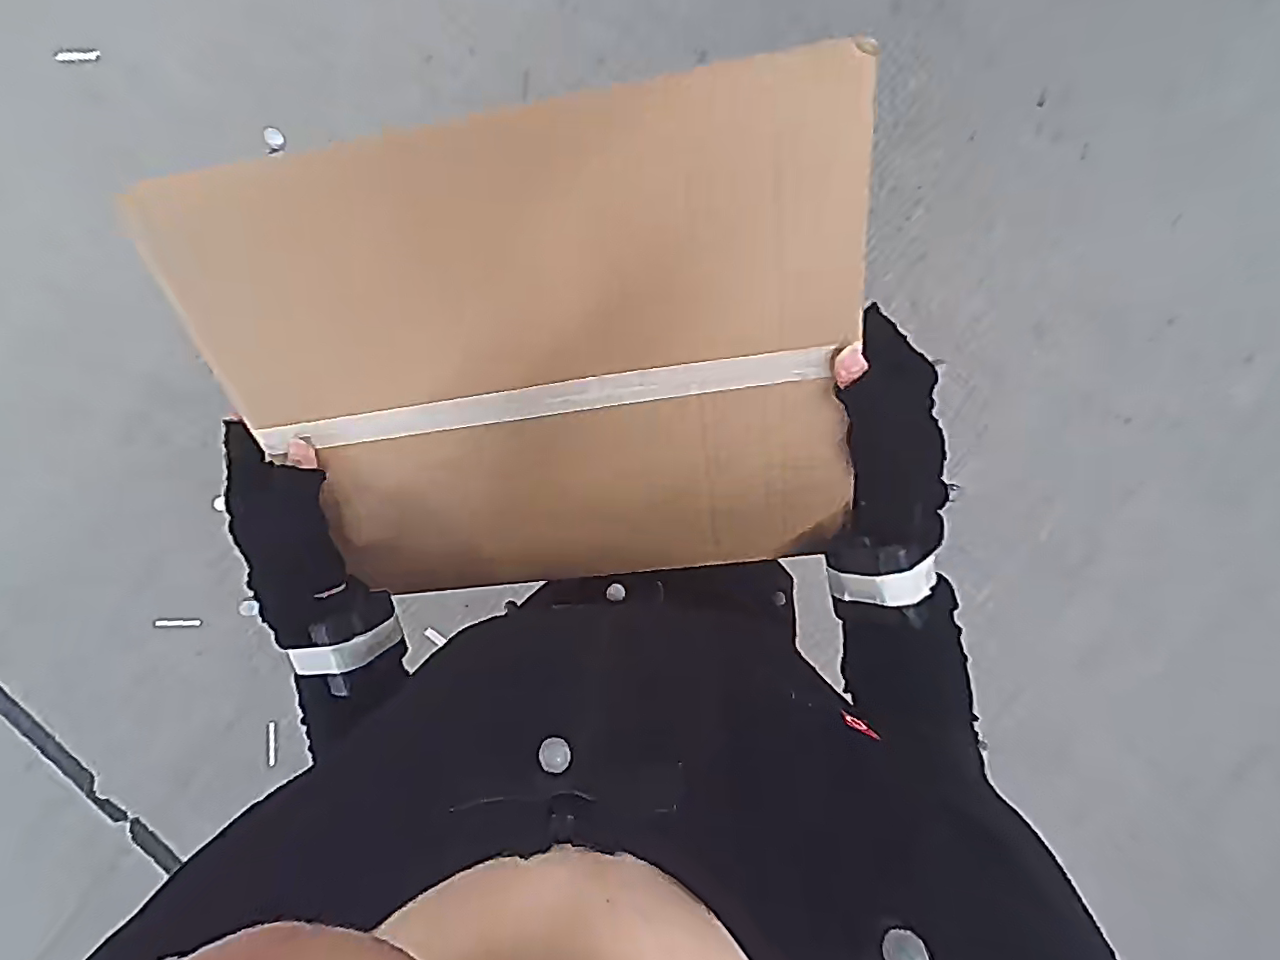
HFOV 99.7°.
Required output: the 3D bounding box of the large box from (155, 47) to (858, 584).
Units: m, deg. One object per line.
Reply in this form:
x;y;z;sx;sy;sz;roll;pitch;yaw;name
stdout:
-0.060;-0.141;0.490;0.408;0.320;0.320;-7;125;7;large box
